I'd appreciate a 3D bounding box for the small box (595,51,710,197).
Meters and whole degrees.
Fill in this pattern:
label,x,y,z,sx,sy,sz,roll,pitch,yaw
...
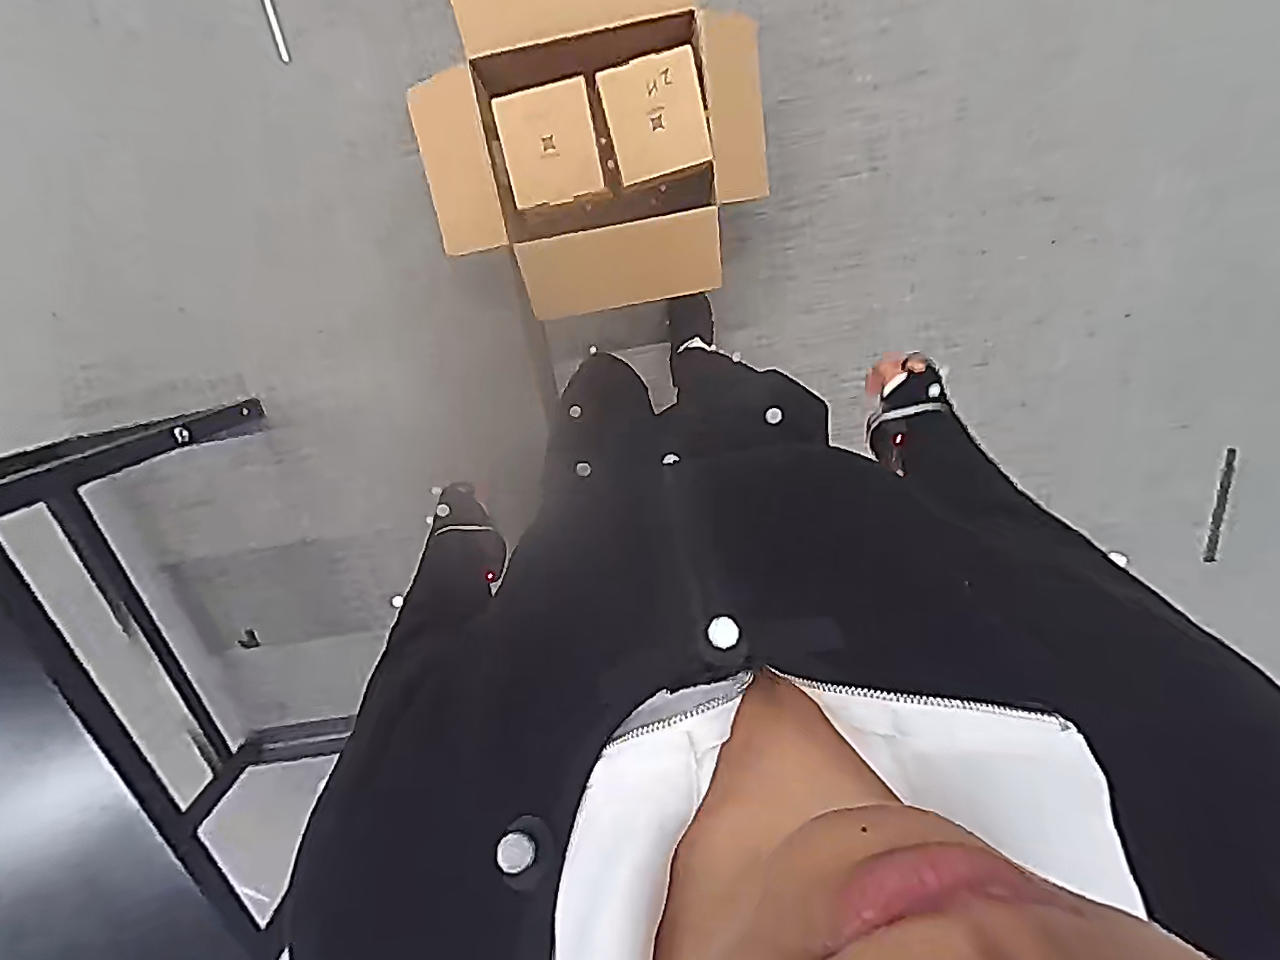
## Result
label,x,y,z,sx,sy,sz,roll,pitch,yaw
small box,0.021,-0.639,0.999,0.168,0.176,0.179,-16,111,2
